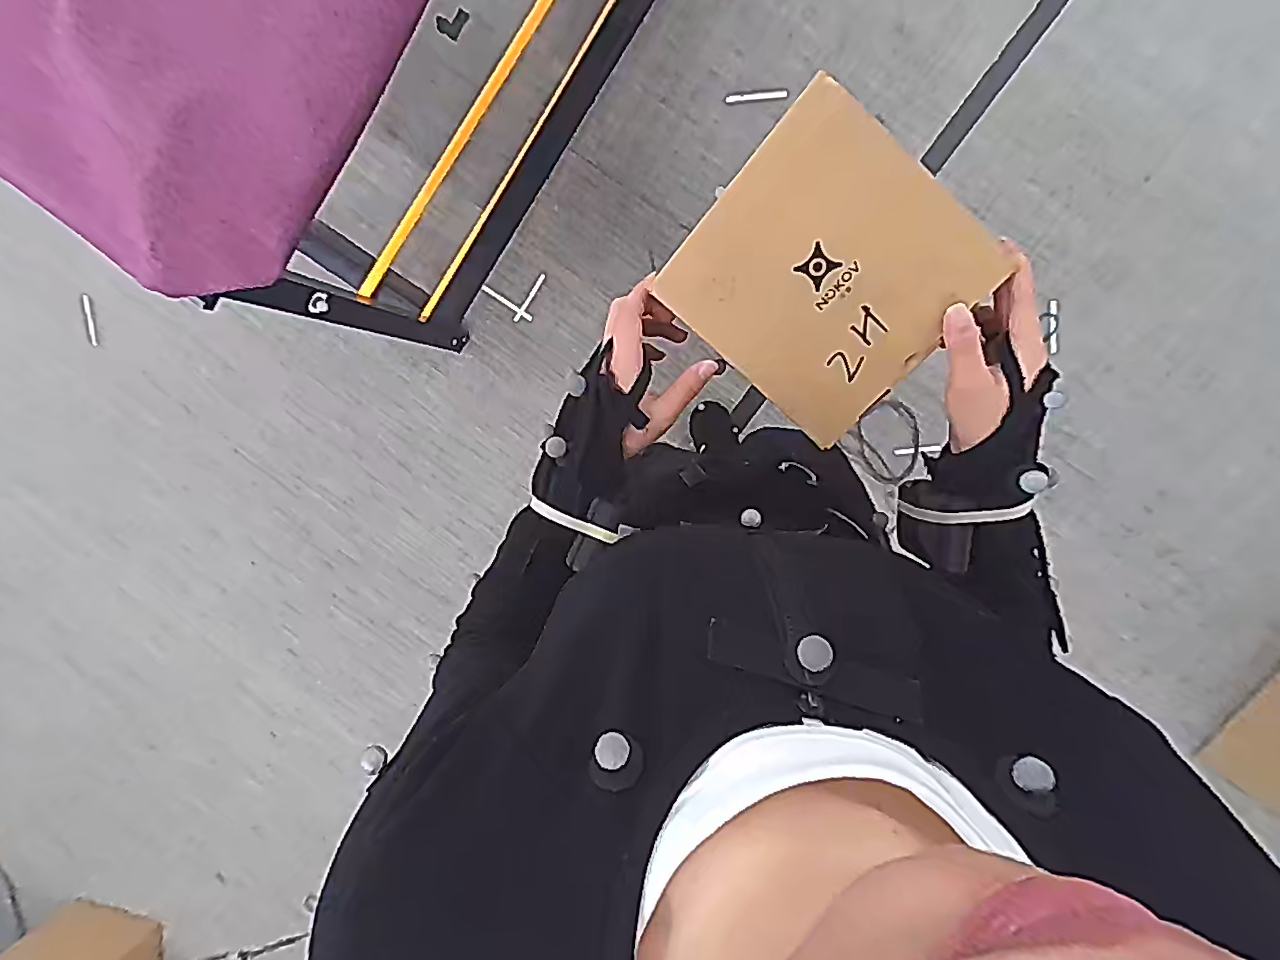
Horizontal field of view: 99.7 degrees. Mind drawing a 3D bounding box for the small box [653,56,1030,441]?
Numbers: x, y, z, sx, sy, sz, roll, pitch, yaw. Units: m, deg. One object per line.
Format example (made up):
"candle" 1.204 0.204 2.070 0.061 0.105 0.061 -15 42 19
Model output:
"small box" 0.134 -0.160 0.421 0.179 0.176 0.168 41 109 -6
